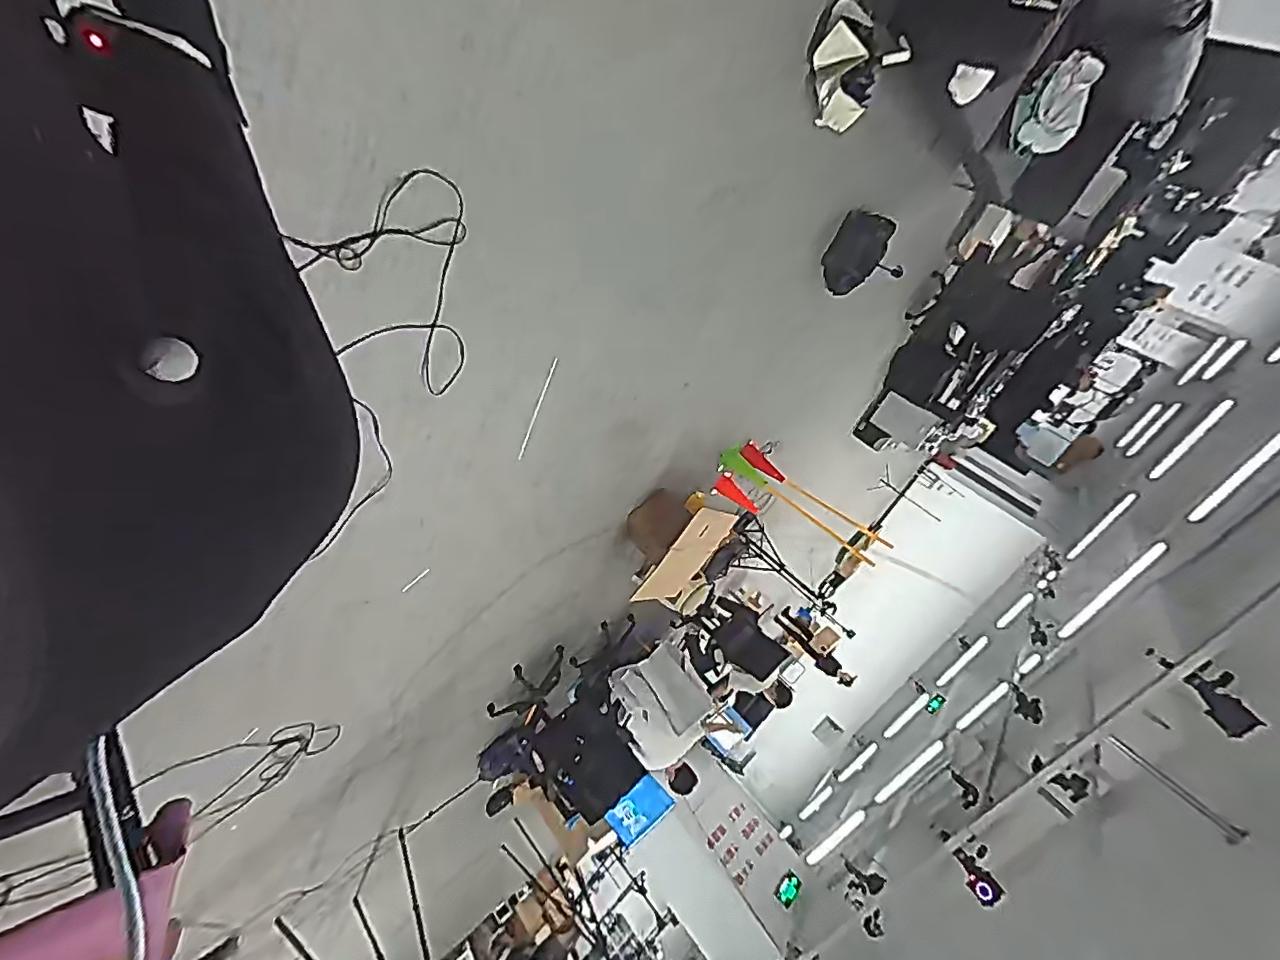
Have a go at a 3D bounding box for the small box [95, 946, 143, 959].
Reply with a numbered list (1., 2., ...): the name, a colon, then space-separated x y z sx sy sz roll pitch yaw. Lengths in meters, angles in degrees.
1. small box: -1.235 1.199 1.202 0.179 0.176 0.168 -51 153 9
